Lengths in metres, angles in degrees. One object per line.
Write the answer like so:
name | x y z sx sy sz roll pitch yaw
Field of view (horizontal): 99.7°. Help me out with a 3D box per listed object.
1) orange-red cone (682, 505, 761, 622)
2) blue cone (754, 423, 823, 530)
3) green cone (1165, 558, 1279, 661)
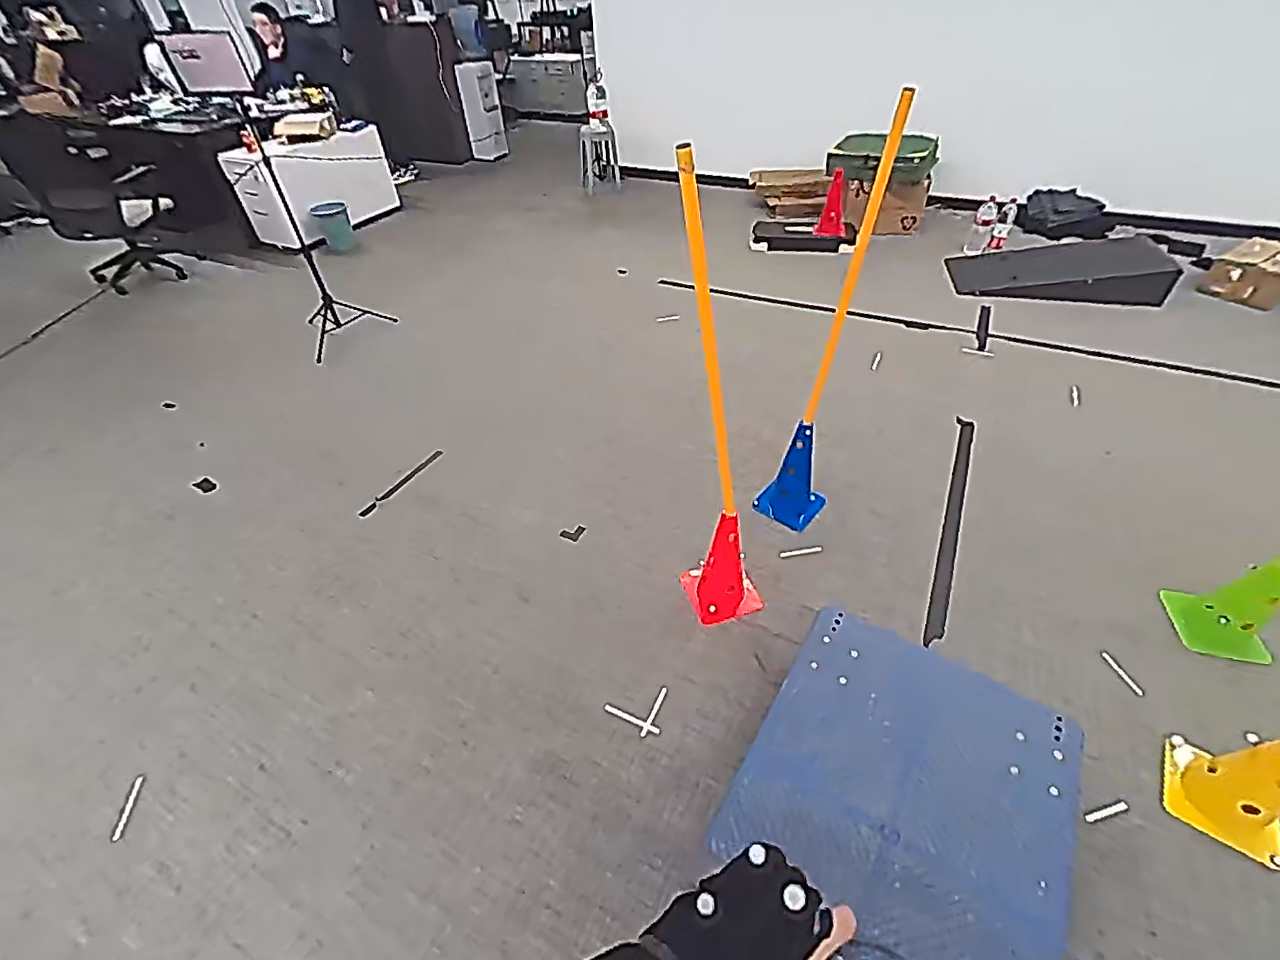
orange-red cone | 0.239 0.203 1.508 0.199 0.360 0.198 -13 45 -12
blue cone | 0.510 -0.035 1.767 0.193 0.380 0.192 31 54 31
green cone | 1.578 0.267 1.362 0.200 0.368 0.202 8 46 12
